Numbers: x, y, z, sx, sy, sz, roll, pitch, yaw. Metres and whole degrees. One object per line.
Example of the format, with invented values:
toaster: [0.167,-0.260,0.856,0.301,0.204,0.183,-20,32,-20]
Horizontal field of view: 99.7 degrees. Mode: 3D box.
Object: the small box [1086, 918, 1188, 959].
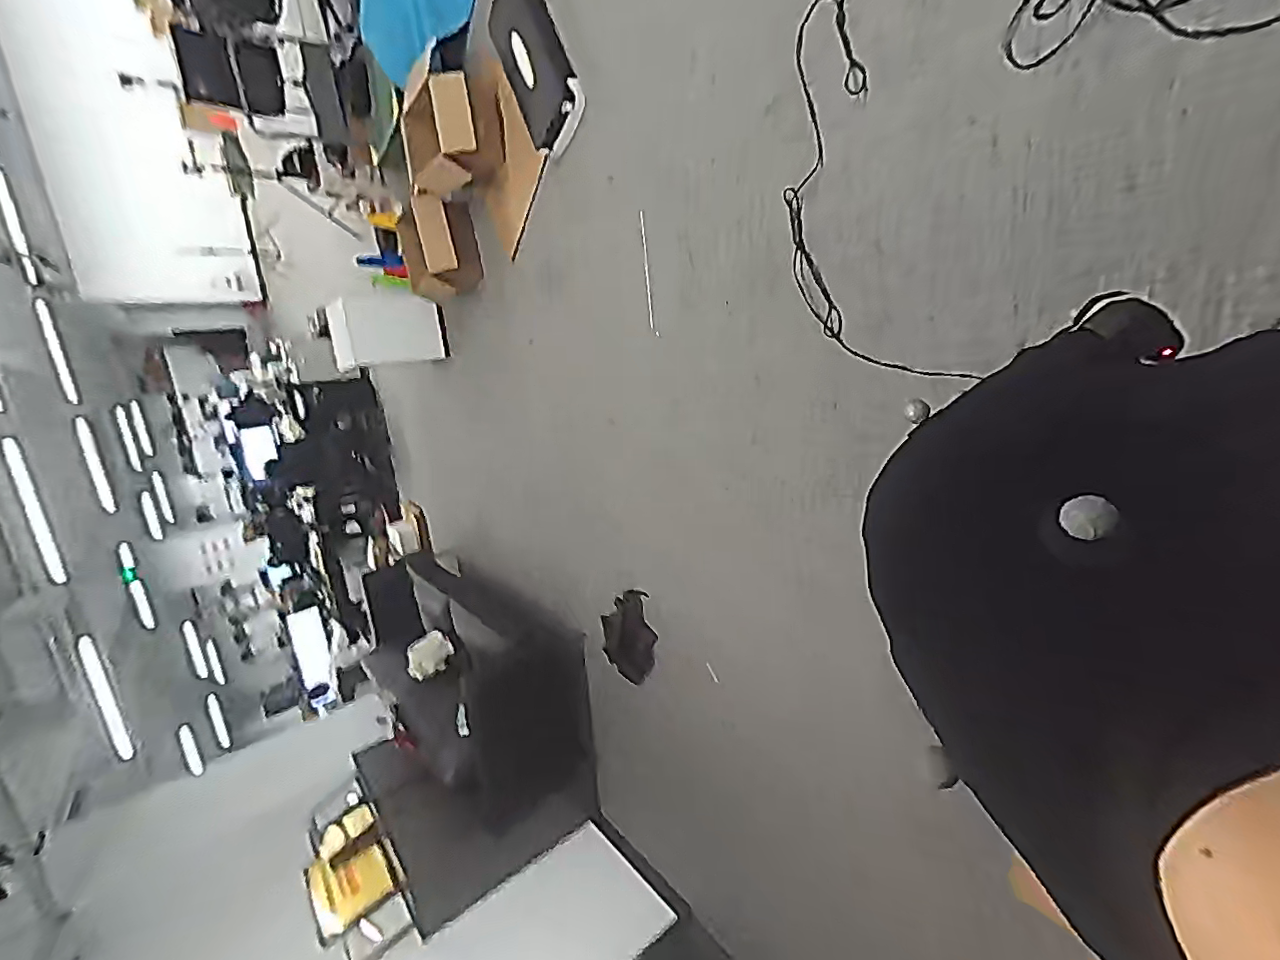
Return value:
small box: [0.704,0.769,0.740,0.168,0.176,0.179,31,125,44]
